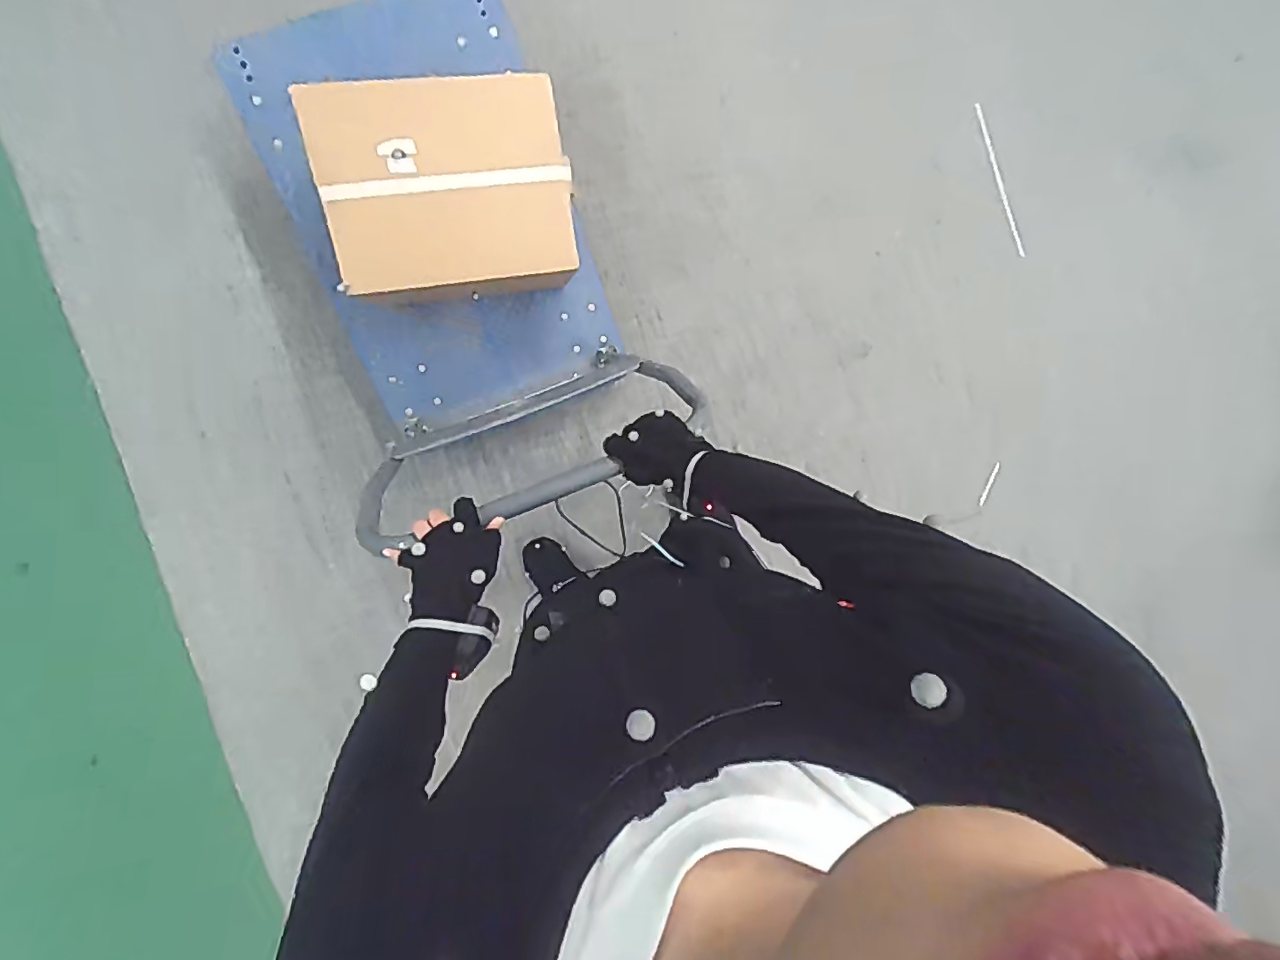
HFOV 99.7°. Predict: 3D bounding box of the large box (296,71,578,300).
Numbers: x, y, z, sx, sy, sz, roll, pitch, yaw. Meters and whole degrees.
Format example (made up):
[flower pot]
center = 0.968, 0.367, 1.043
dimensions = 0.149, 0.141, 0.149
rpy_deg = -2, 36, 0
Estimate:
[large box]
center = -0.355, -0.539, 1.052
dimensions = 0.408, 0.320, 0.320
rpy_deg = -10, 106, -10
